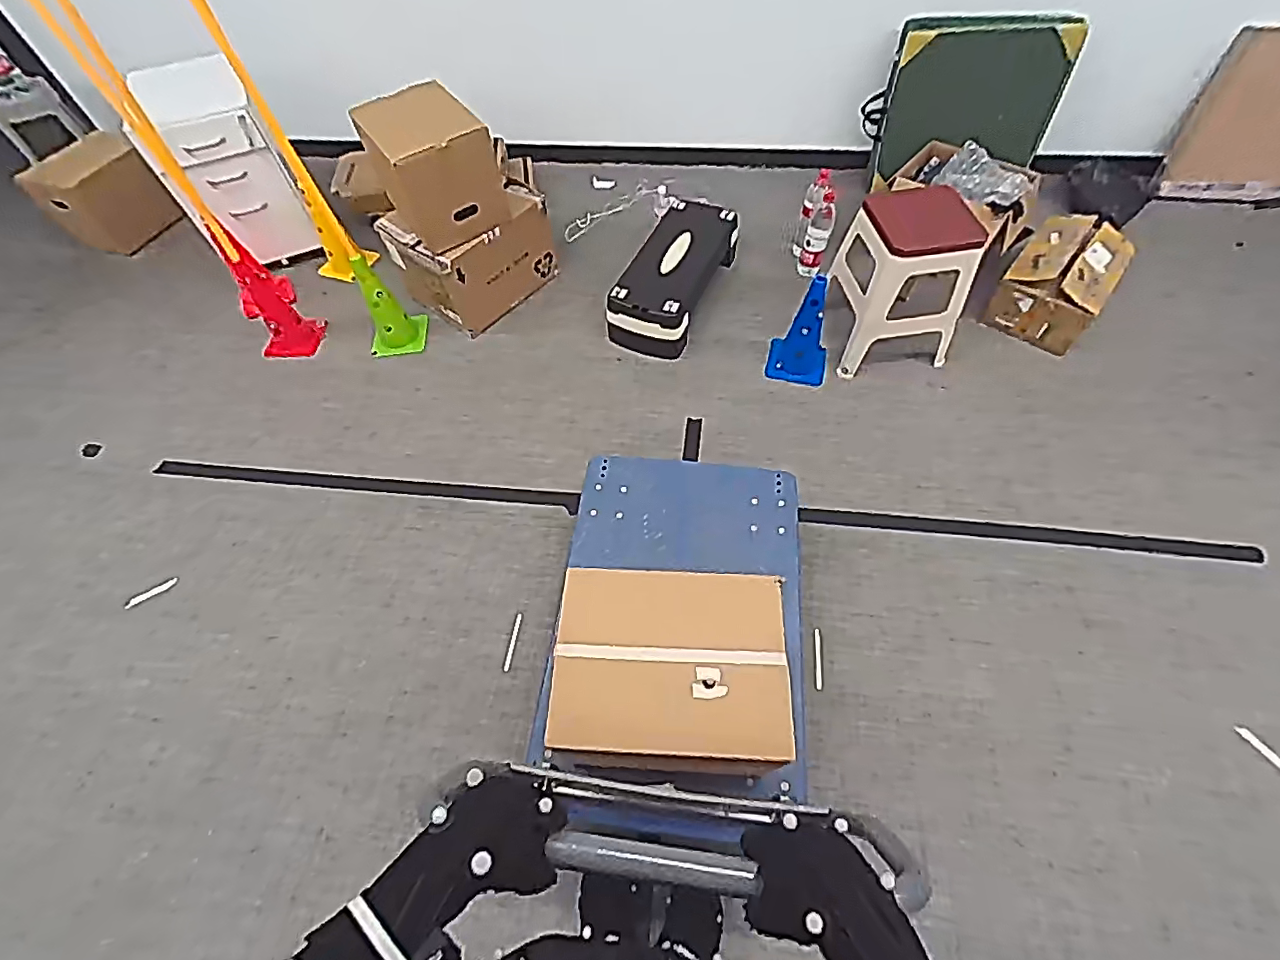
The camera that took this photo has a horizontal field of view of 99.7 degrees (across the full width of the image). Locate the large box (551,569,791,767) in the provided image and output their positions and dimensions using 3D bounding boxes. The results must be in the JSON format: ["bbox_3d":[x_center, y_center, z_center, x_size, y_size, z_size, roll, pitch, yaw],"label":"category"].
[{"bbox_3d":[0.055,0.387,1.090,0.408,0.320,0.320,2,59,2],"label":"large box"}]
